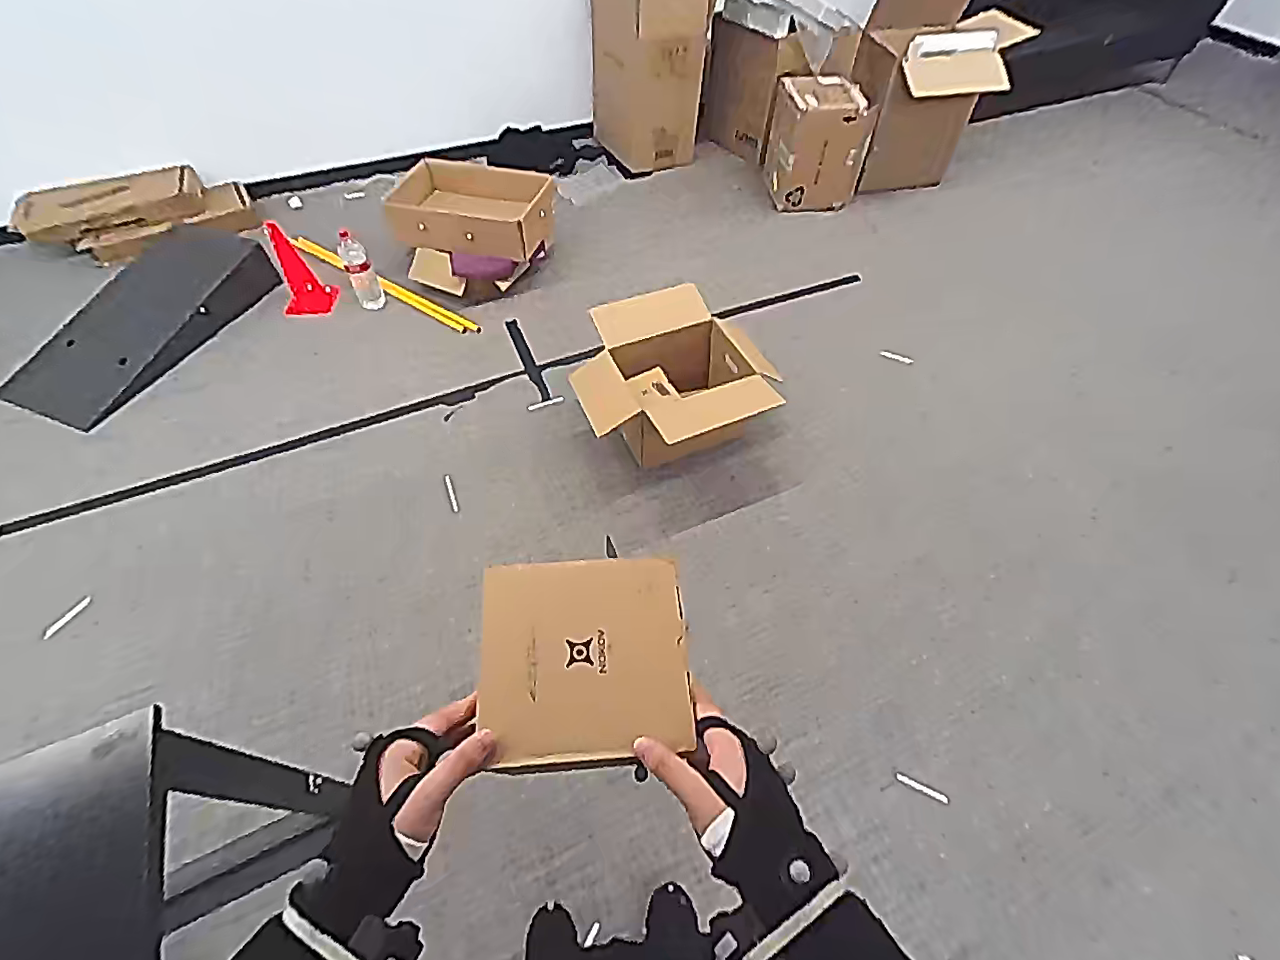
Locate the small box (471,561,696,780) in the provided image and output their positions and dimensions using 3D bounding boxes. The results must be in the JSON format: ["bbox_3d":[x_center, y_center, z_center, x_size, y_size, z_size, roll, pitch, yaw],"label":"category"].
[{"bbox_3d":[-0.051,0.189,0.524,0.179,0.176,0.168,-4,59,-3],"label":"small box"}]
